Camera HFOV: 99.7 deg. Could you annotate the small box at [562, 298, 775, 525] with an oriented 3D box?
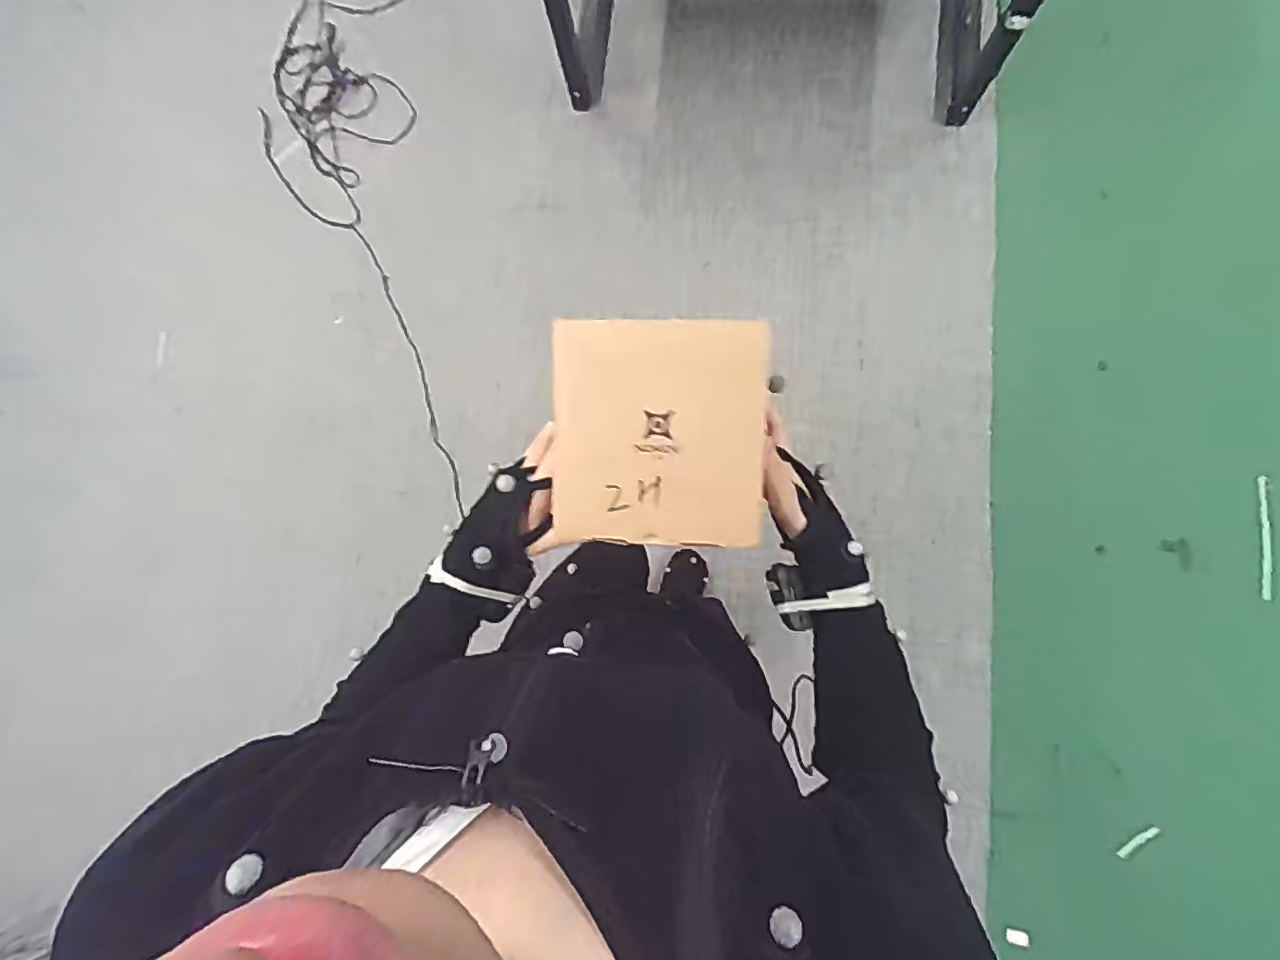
[{"bbox_3d":[0.028,-0.063,0.504,0.168,0.176,0.179,2,99,8],"label":"small box"}]
